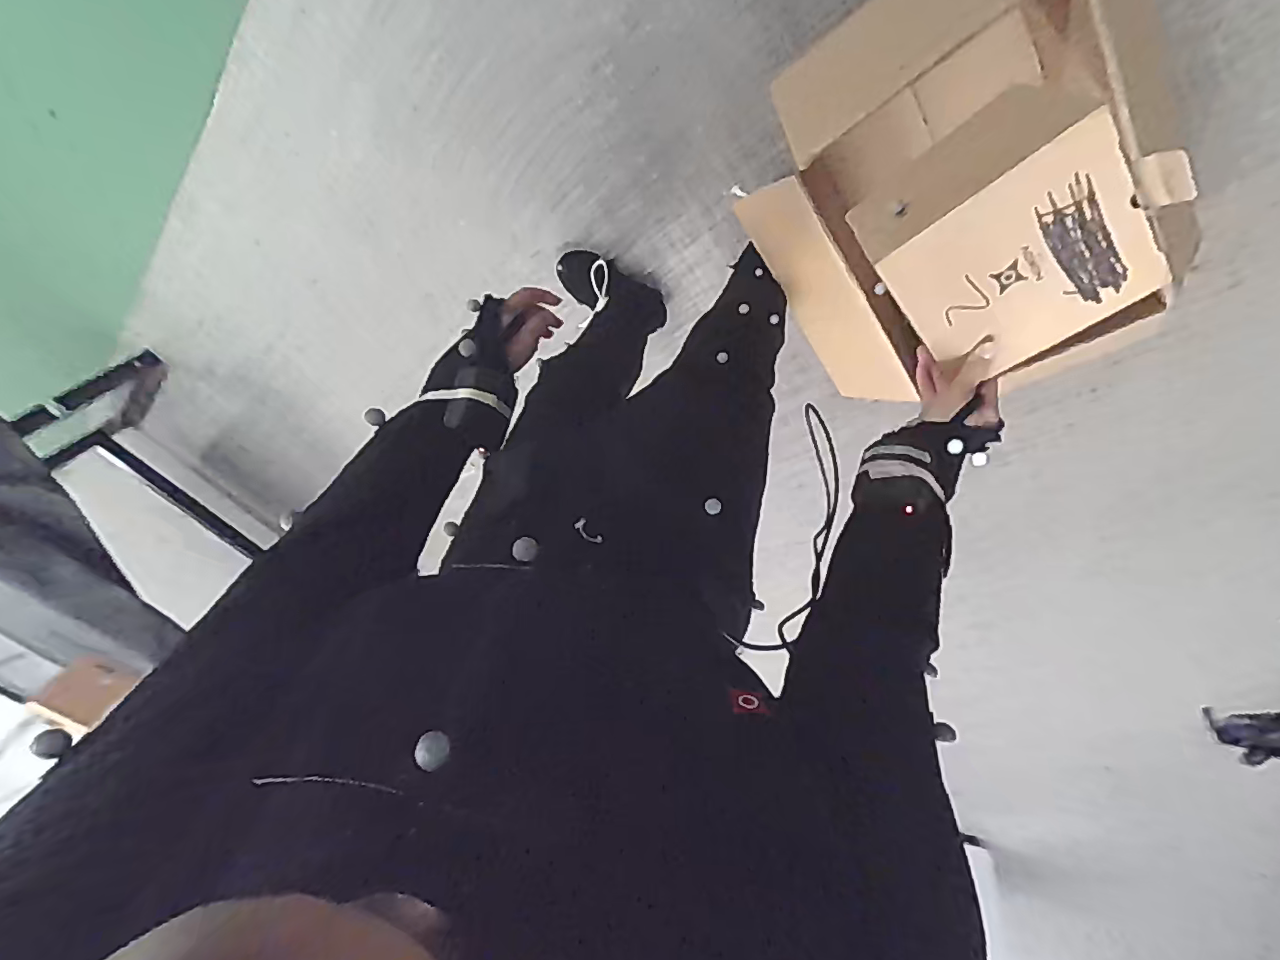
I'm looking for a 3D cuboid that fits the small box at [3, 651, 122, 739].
[{"bbox_3d":[-1.651,0.616,1.553,0.179,0.176,0.168,-28,118,36],"label":"small box"}]
